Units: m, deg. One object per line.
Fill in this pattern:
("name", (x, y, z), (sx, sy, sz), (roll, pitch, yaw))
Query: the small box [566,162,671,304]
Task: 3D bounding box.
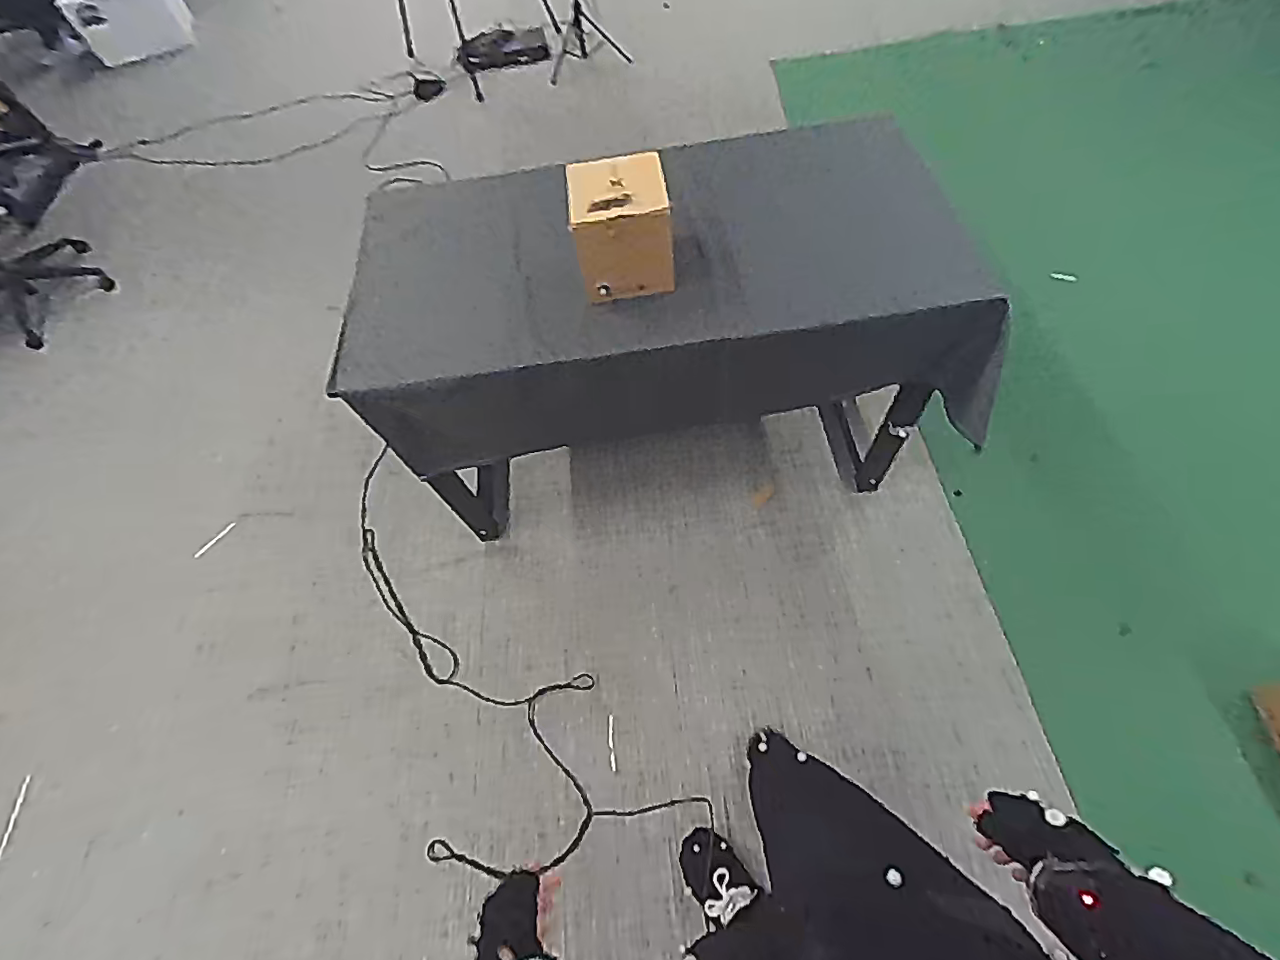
("small box", (-0.037, -0.445, 0.999), (0.168, 0.176, 0.179), (-8, 59, 2))
